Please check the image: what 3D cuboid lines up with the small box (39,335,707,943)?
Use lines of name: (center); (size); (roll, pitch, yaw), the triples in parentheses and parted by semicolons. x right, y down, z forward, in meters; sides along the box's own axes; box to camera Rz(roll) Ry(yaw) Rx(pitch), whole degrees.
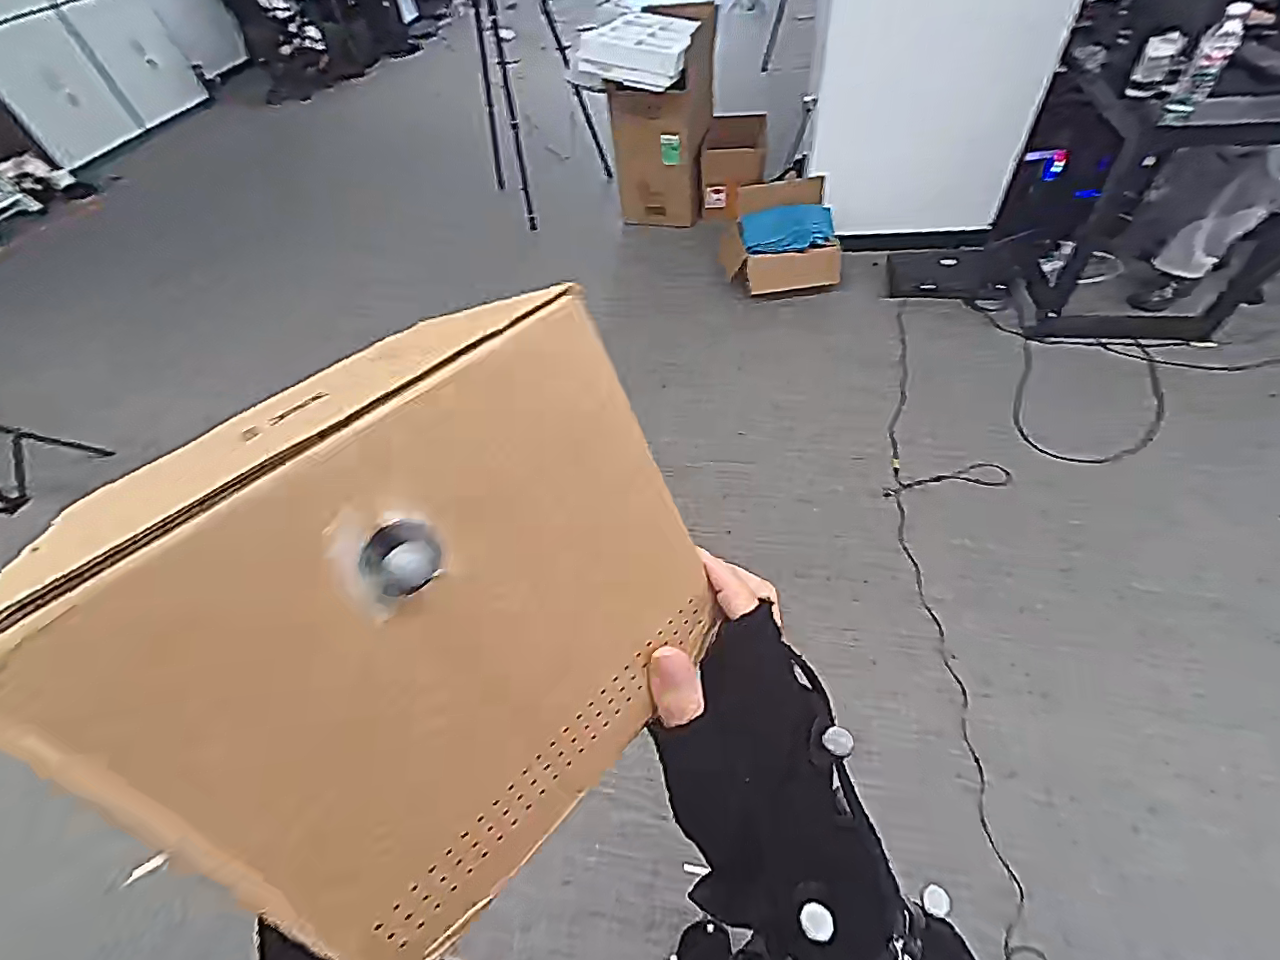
small box: (-0.095, 0.052, 0.257); (0.179, 0.176, 0.168); (-39, 30, -28)
